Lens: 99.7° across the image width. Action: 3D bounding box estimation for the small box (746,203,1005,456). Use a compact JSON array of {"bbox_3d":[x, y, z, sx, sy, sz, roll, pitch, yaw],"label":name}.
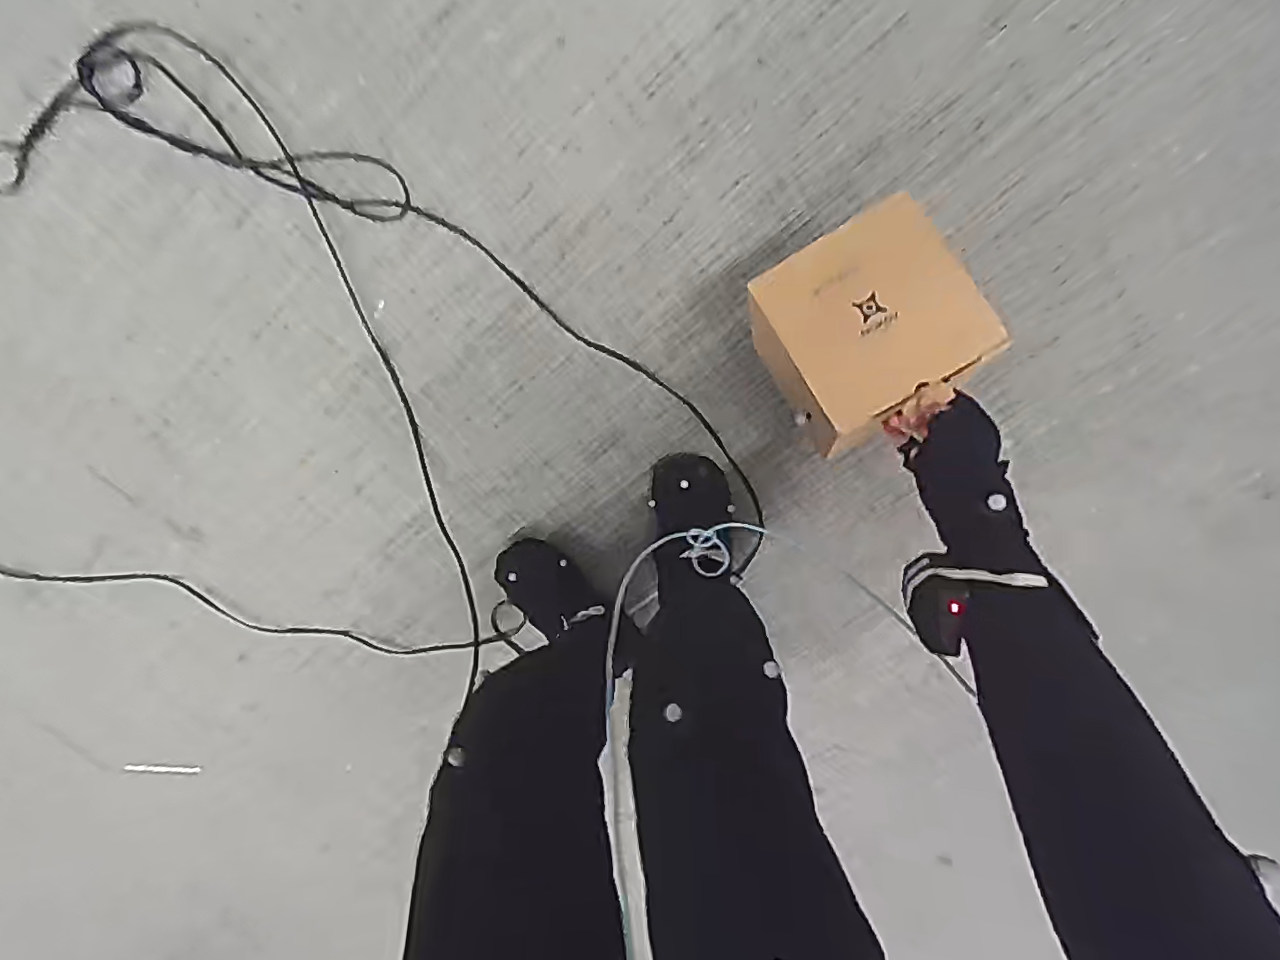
[{"bbox_3d":[0.229,-0.137,0.571,0.168,0.176,0.179,-30,78,9],"label":"small box"}]
